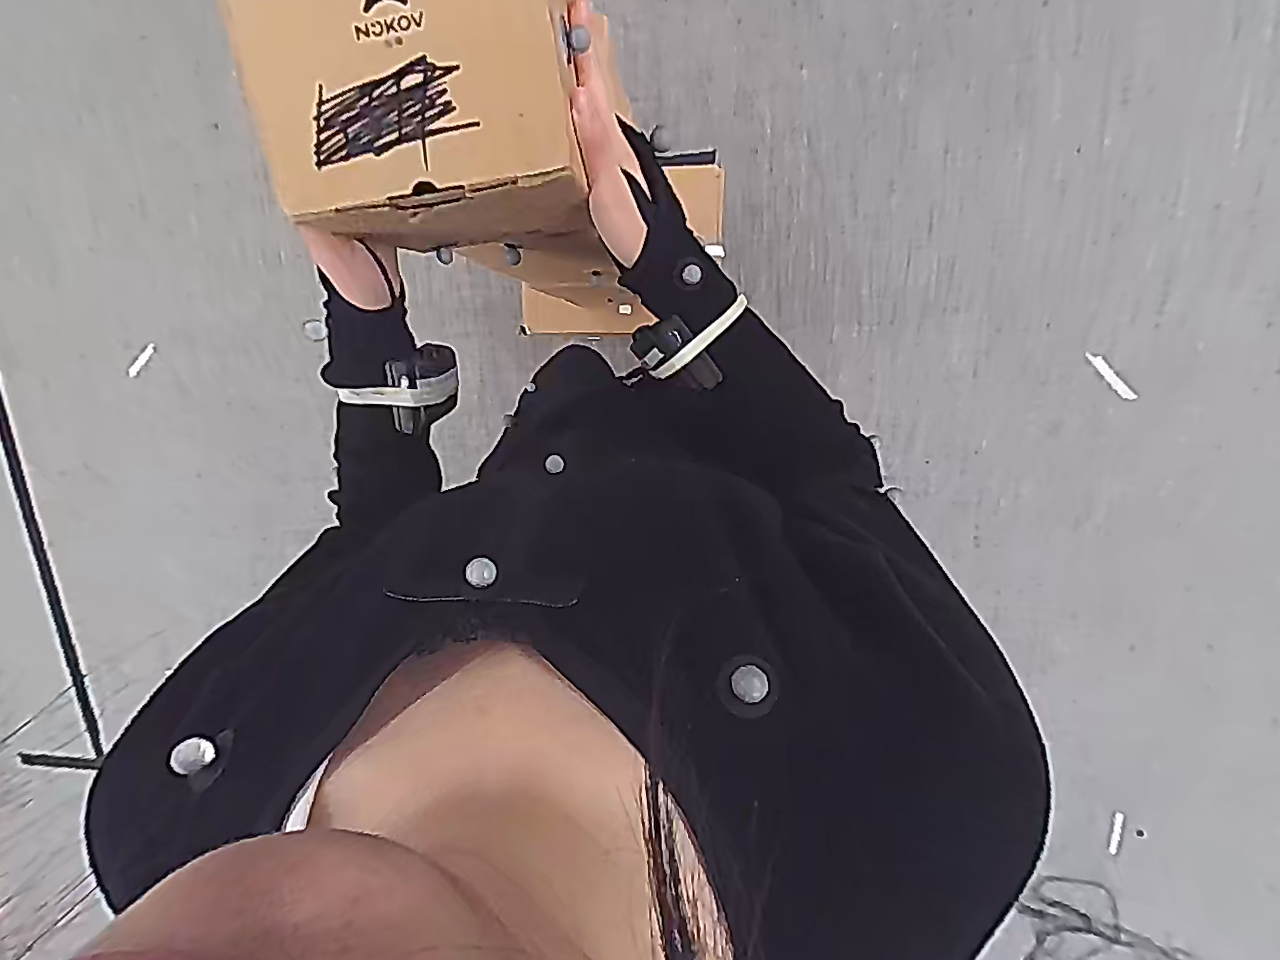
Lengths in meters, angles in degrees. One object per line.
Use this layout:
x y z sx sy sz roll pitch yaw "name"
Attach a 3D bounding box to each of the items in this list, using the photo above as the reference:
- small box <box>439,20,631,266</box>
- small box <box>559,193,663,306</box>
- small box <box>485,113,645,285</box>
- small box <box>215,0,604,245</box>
-0.104 -0.311 0.531 0.179 0.176 0.168 3 104 6 "small box"
-0.051 -0.419 1.007 0.179 0.176 0.168 -1 104 5 "small box"
-0.087 -0.346 0.689 0.179 0.176 0.168 3 103 6 "small box"
-0.122 -0.255 0.341 0.168 0.176 0.179 -7 106 5 "small box"
